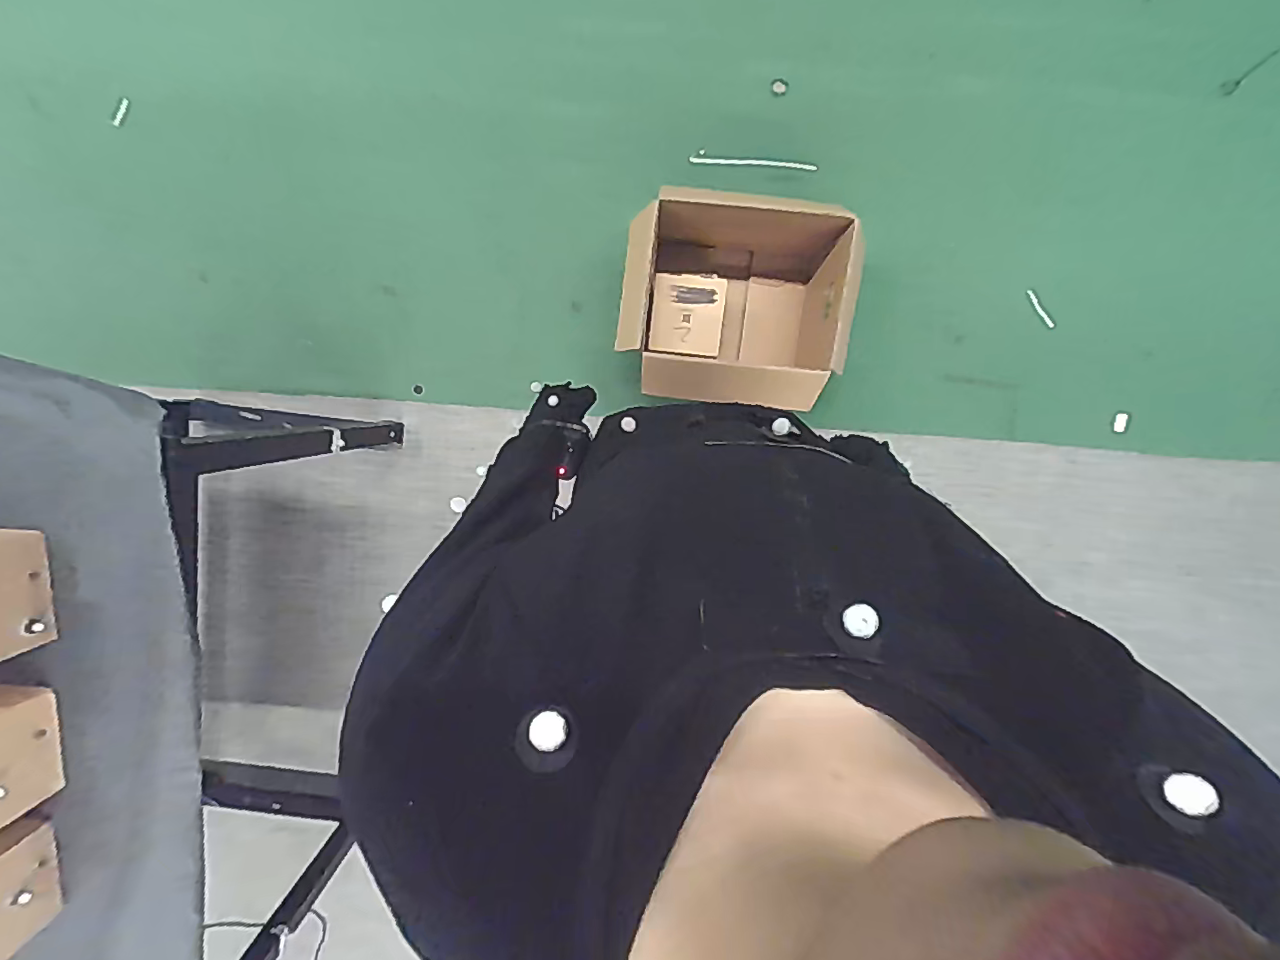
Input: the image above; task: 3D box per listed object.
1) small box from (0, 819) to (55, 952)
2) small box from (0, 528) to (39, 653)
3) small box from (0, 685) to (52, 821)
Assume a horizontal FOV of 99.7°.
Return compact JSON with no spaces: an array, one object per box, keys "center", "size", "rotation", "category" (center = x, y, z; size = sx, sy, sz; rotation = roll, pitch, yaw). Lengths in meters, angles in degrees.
[{"center":[-1.009,0.611,0.767],"size":[0.179,0.176,0.168],"rotation":[3,99,1],"category":"small box"},{"center":[-0.943,0.157,0.698],"size":[0.179,0.176,0.168],"rotation":[3,99,2],"category":"small box"},{"center":[-0.967,0.393,0.736],"size":[0.179,0.176,0.168],"rotation":[4,99,2],"category":"small box"}]
